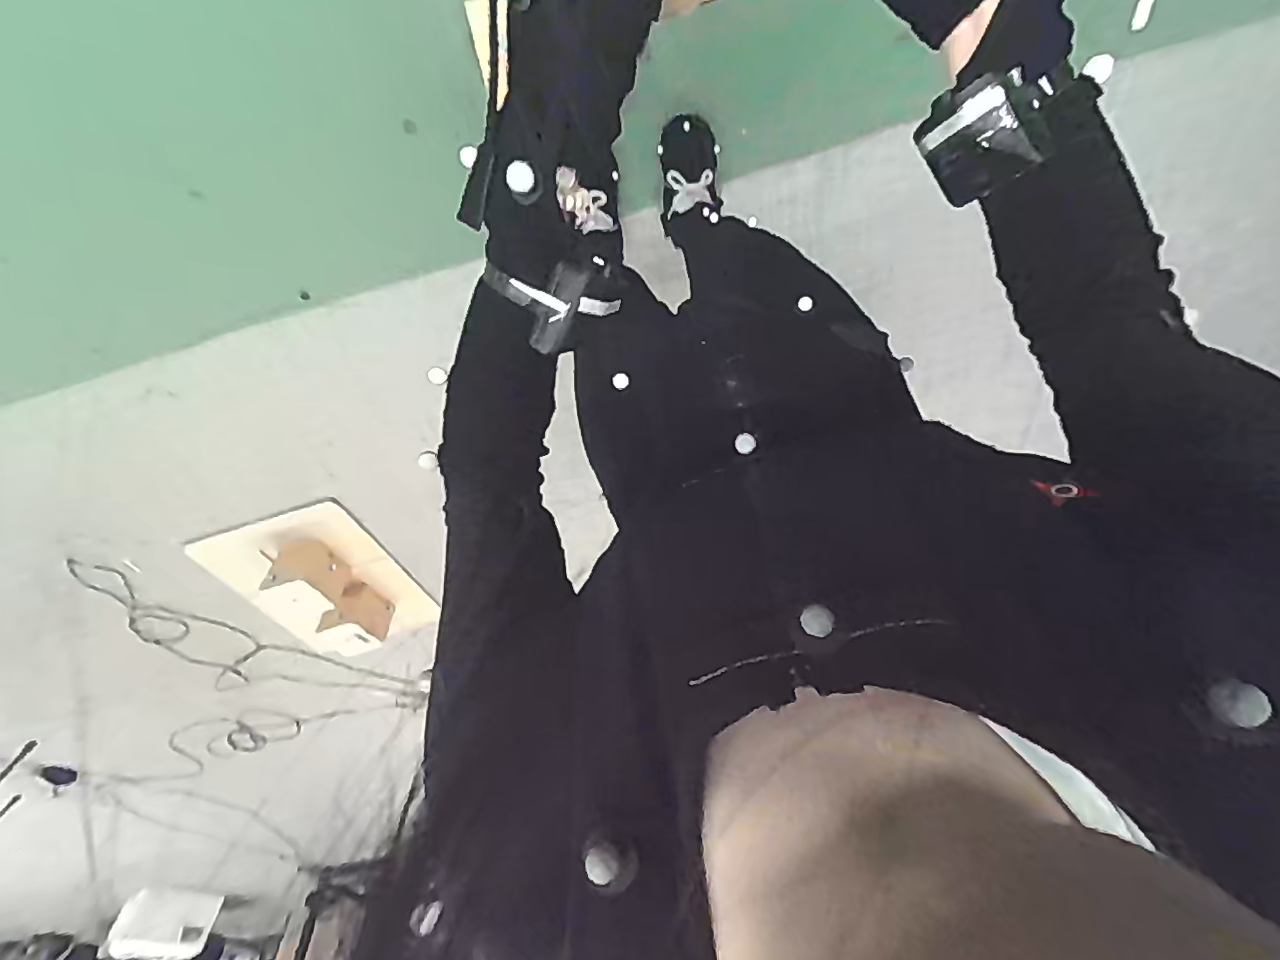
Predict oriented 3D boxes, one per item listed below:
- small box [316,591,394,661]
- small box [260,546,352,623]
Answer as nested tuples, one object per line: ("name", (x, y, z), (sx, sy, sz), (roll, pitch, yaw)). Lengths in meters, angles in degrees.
("small box", (-1.030, 0.530, 1.979), (0.179, 0.176, 0.168), (-20, 129, 13))
("small box", (-1.118, 0.351, 1.826), (0.179, 0.176, 0.168), (-16, 130, 9))
